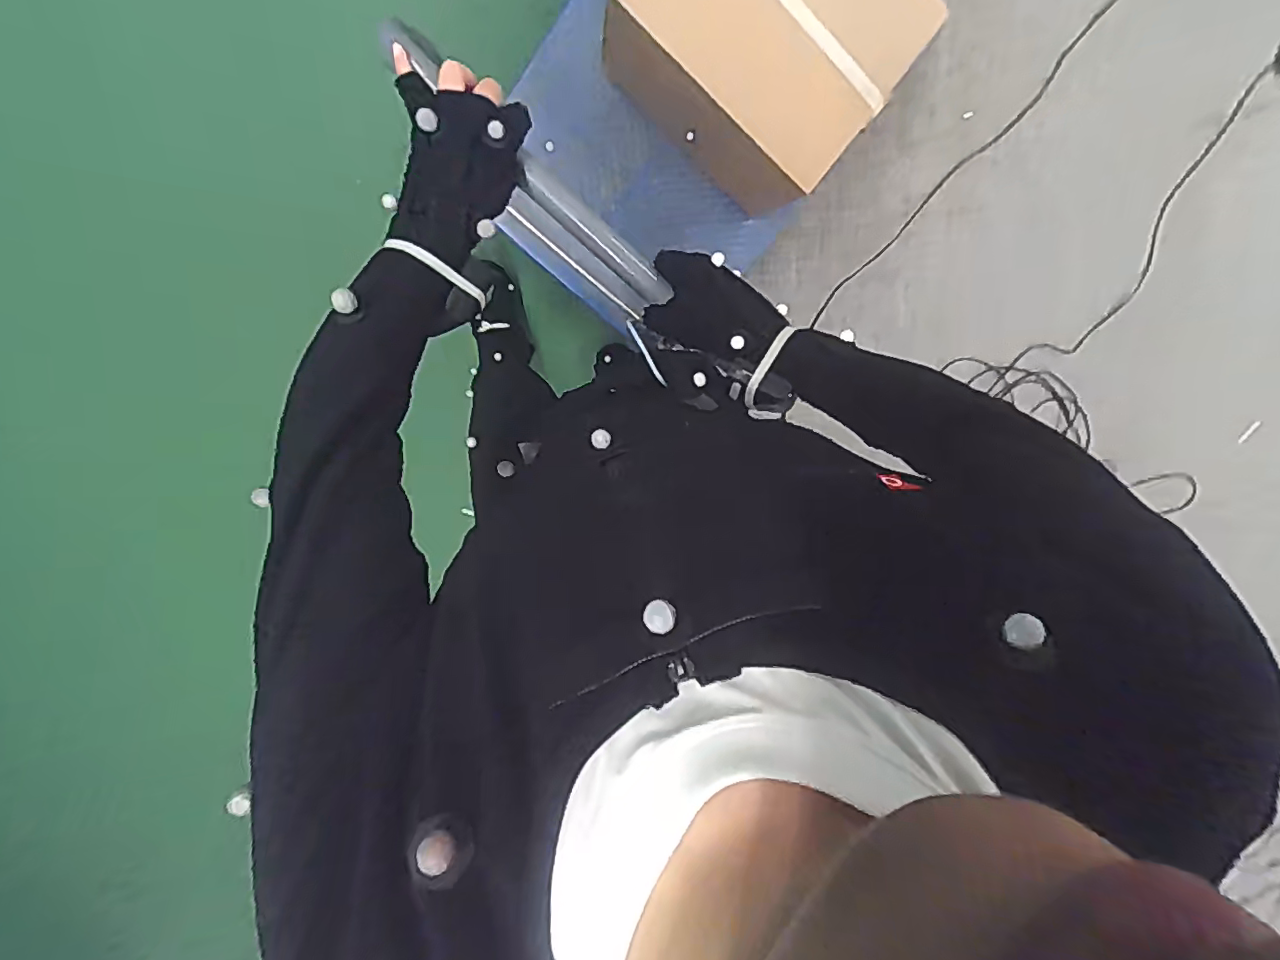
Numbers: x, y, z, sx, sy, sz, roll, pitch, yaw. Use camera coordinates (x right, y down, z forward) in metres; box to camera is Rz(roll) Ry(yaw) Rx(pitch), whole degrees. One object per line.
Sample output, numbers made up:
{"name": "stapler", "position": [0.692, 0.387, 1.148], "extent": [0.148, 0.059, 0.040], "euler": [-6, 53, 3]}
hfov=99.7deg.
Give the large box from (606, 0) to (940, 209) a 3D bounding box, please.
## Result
{"name": "large box", "position": [0.190, -0.739, 0.921], "extent": [0.408, 0.320, 0.320], "euler": [36, 102, -16]}
